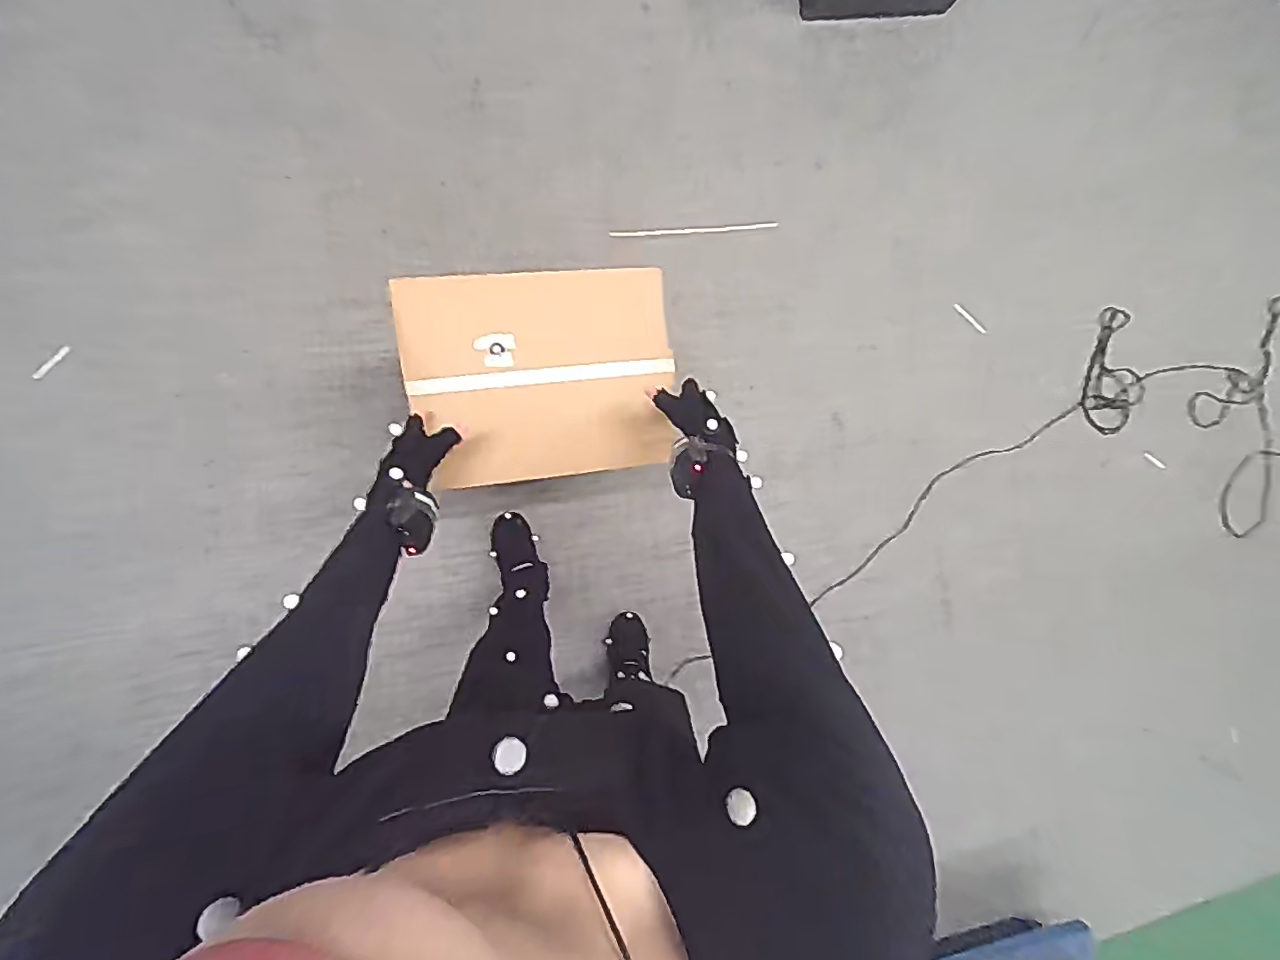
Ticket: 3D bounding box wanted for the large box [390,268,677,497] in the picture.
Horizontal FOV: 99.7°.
[{"bbox_3d":[-0.175,-0.170,0.967,0.408,0.320,0.320,-7,98,-10],"label":"large box"}]
